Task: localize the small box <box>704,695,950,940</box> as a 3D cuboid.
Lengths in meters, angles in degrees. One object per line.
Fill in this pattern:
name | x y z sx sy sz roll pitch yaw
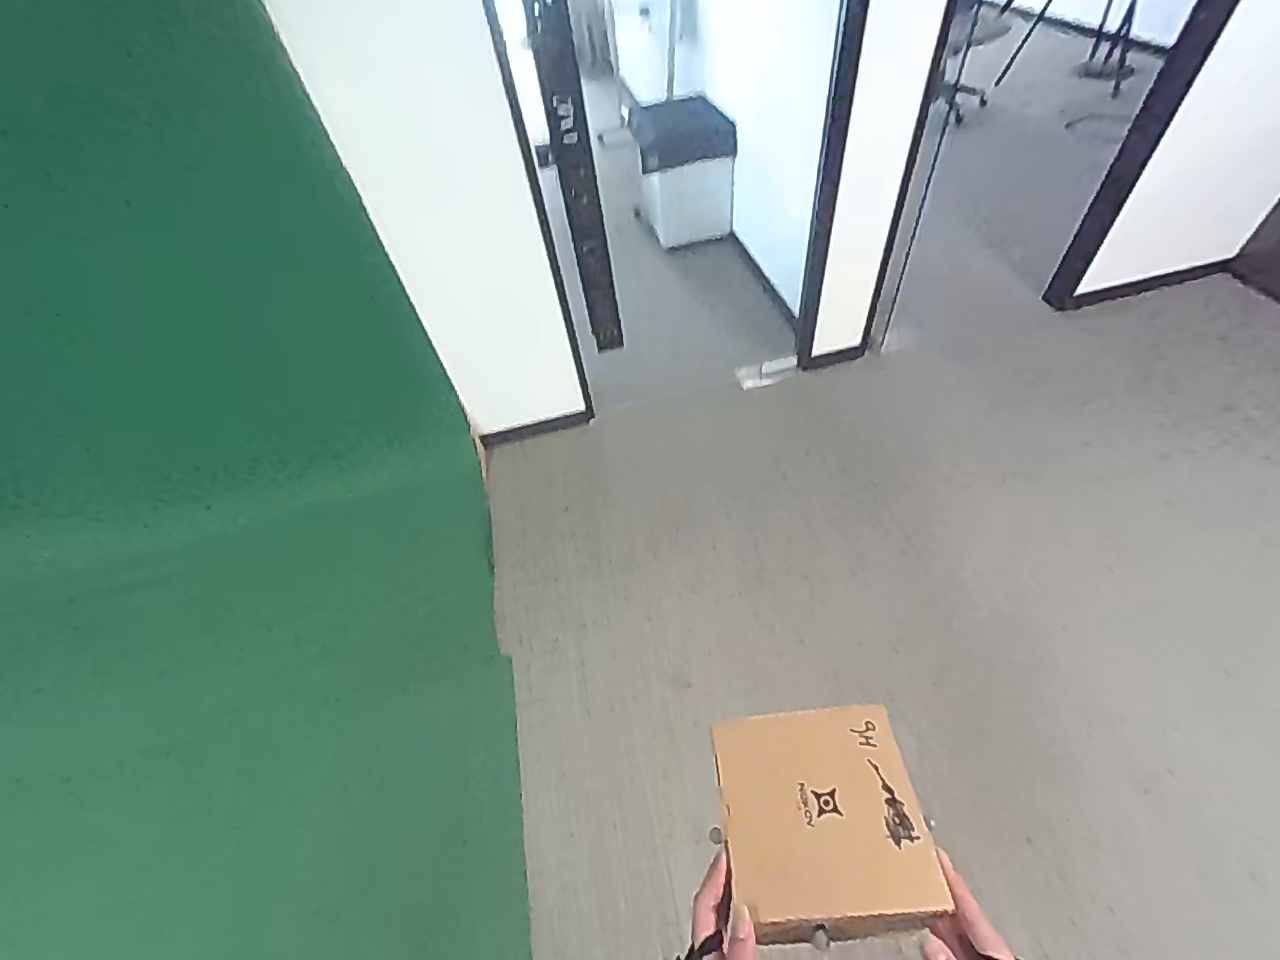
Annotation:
small box | 0.164 0.332 0.527 0.179 0.176 0.168 -8 45 6
